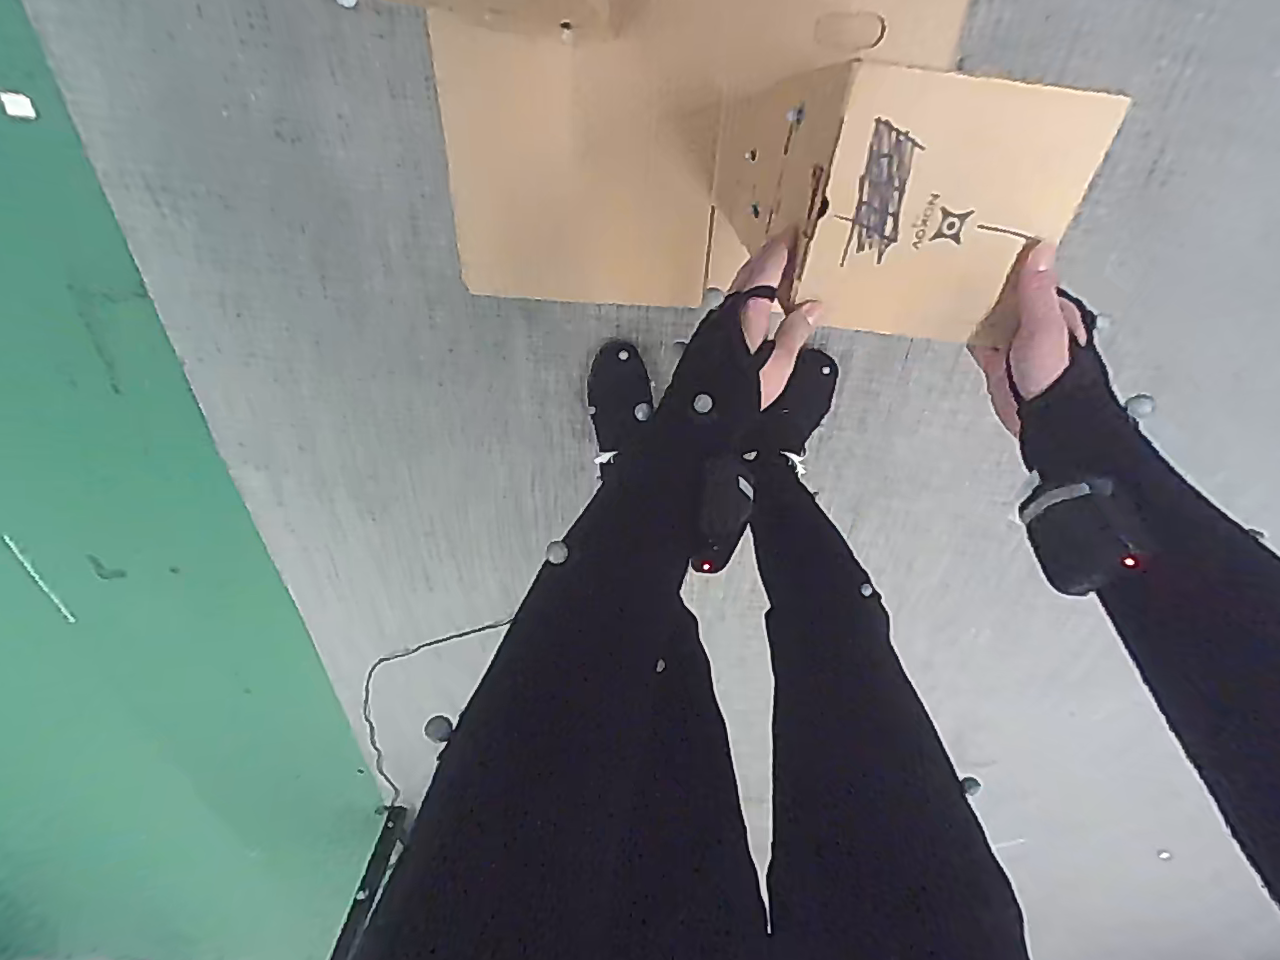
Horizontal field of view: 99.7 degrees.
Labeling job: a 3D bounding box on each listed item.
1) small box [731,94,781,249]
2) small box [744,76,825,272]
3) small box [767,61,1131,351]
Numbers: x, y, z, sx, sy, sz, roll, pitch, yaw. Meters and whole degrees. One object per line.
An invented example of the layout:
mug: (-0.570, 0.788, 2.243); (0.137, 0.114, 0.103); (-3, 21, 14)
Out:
small box: (0.227, -0.401, 0.715); (0.179, 0.176, 0.168); (6, 124, 0)
small box: (0.218, -0.313, 0.578); (0.179, 0.176, 0.168); (8, 125, -2)
small box: (0.213, -0.223, 0.442); (0.179, 0.176, 0.168); (7, 125, -1)
